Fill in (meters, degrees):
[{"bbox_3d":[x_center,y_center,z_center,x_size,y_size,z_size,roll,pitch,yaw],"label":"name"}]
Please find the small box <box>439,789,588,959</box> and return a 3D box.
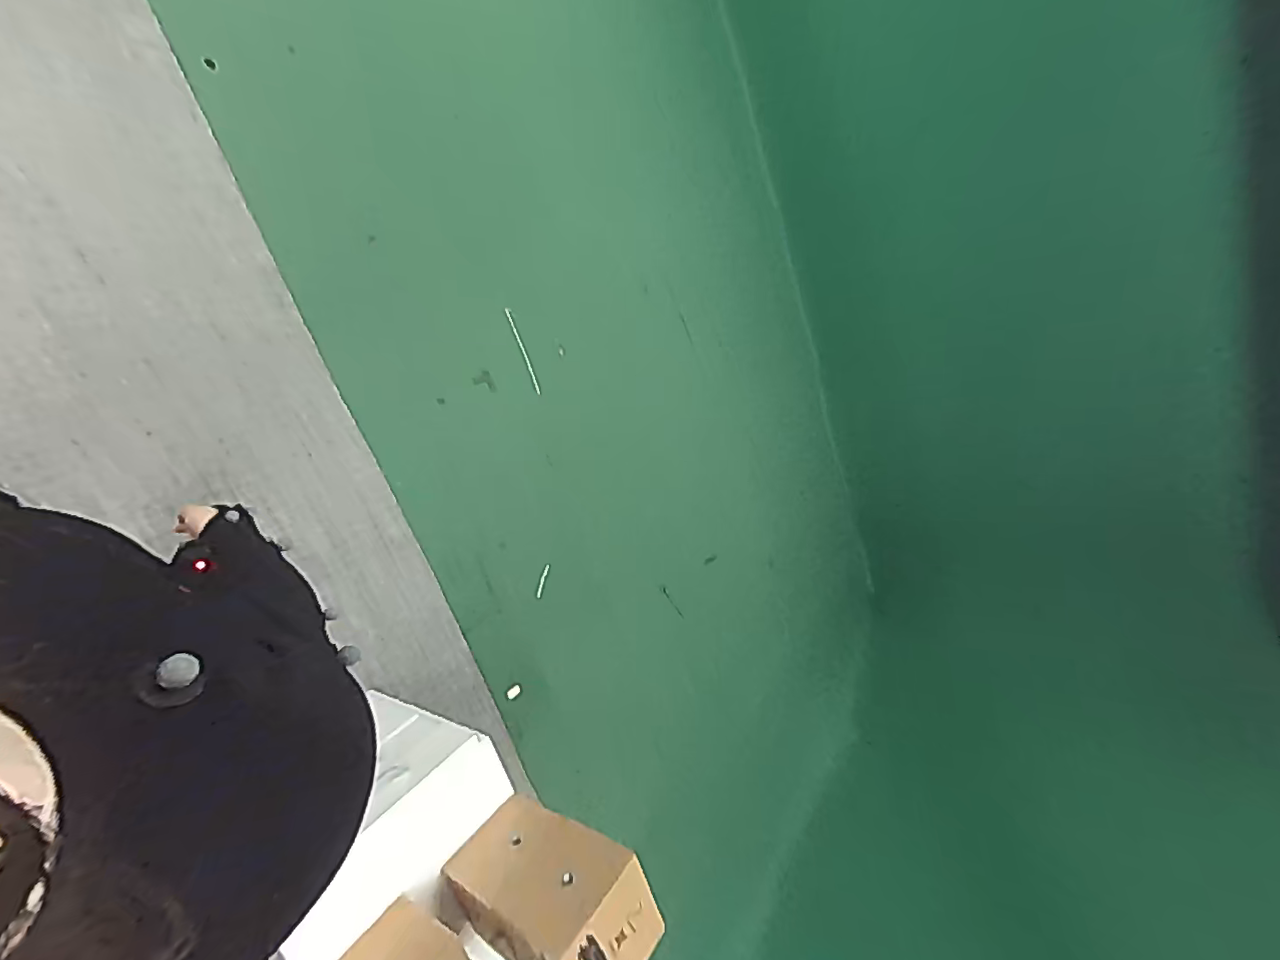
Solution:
[{"bbox_3d":[-0.231,0.713,0.992,0.179,0.176,0.168,-33,110,-44],"label":"small box"}]
